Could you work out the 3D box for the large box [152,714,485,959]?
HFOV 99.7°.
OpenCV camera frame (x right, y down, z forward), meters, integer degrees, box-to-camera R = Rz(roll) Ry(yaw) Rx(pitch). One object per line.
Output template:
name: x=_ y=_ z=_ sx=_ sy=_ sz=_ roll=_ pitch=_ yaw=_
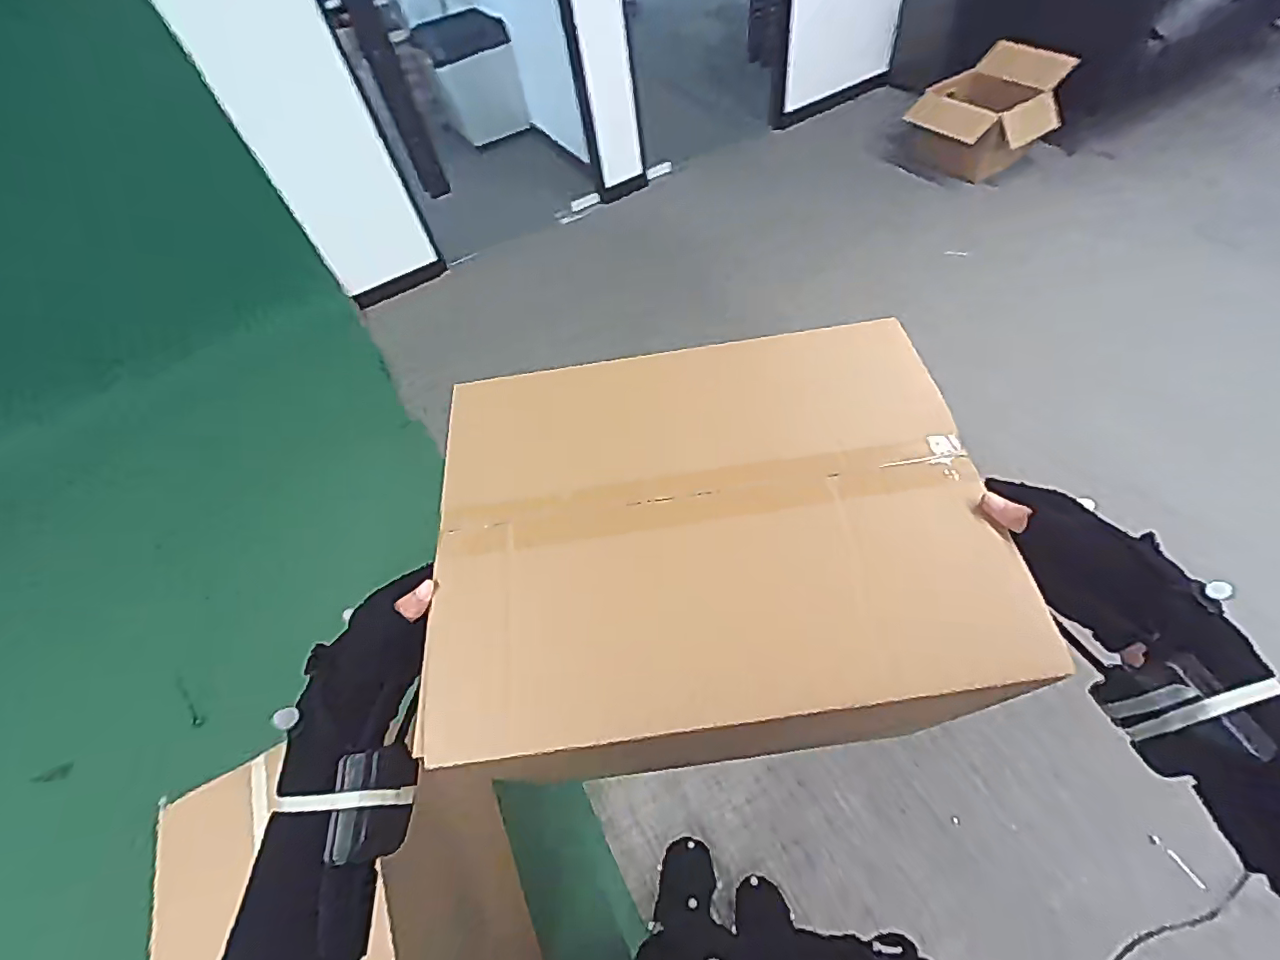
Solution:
large box: x=-0.488 y=0.667 z=0.854 sx=0.320 sy=0.320 sz=0.408 roll=-26 pitch=52 yaw=-11
